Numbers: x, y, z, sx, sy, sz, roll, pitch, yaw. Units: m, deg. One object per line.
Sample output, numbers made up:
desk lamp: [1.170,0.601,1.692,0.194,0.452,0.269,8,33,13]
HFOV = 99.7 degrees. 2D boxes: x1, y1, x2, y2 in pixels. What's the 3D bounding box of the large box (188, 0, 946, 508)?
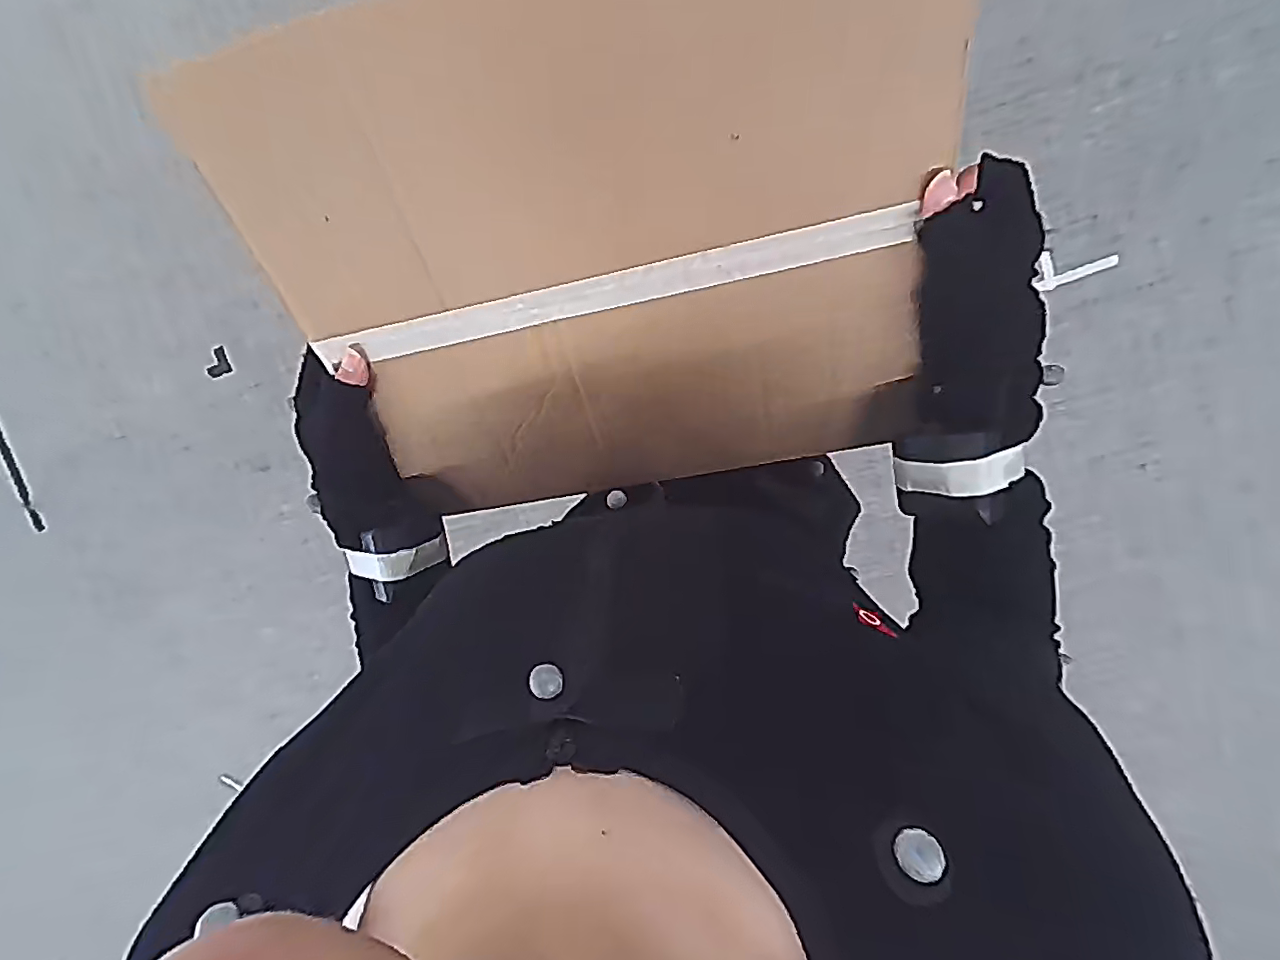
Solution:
large box: [-0.017,-0.219,0.466,0.408,0.320,0.320,-10,128,9]
